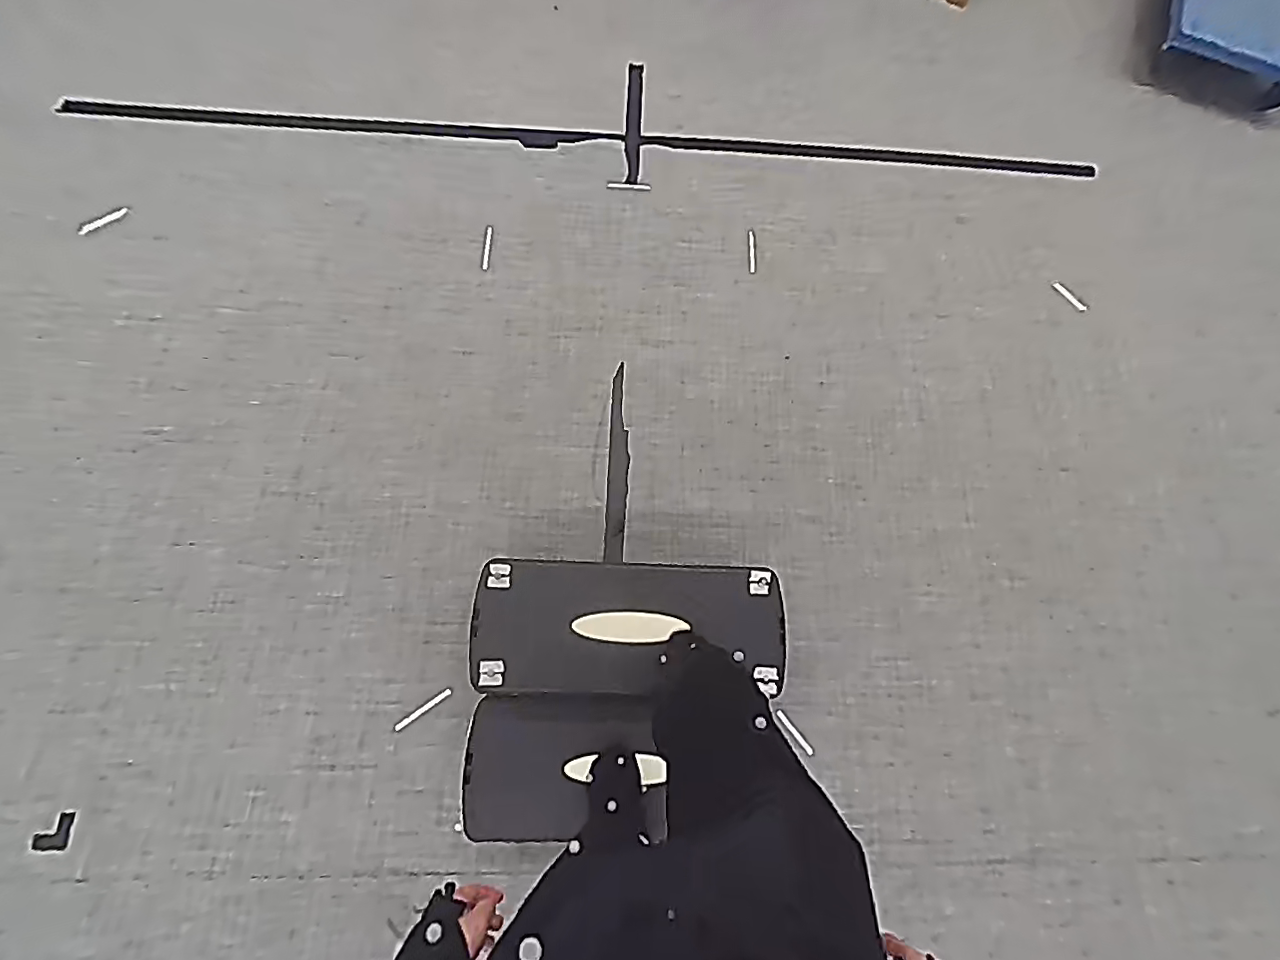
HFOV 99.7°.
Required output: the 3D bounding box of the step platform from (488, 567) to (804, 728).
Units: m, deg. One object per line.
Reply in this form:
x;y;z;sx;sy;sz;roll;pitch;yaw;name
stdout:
0.014;0.373;1.215;0.684;0.204;0.286;7;71;-2;step platform
